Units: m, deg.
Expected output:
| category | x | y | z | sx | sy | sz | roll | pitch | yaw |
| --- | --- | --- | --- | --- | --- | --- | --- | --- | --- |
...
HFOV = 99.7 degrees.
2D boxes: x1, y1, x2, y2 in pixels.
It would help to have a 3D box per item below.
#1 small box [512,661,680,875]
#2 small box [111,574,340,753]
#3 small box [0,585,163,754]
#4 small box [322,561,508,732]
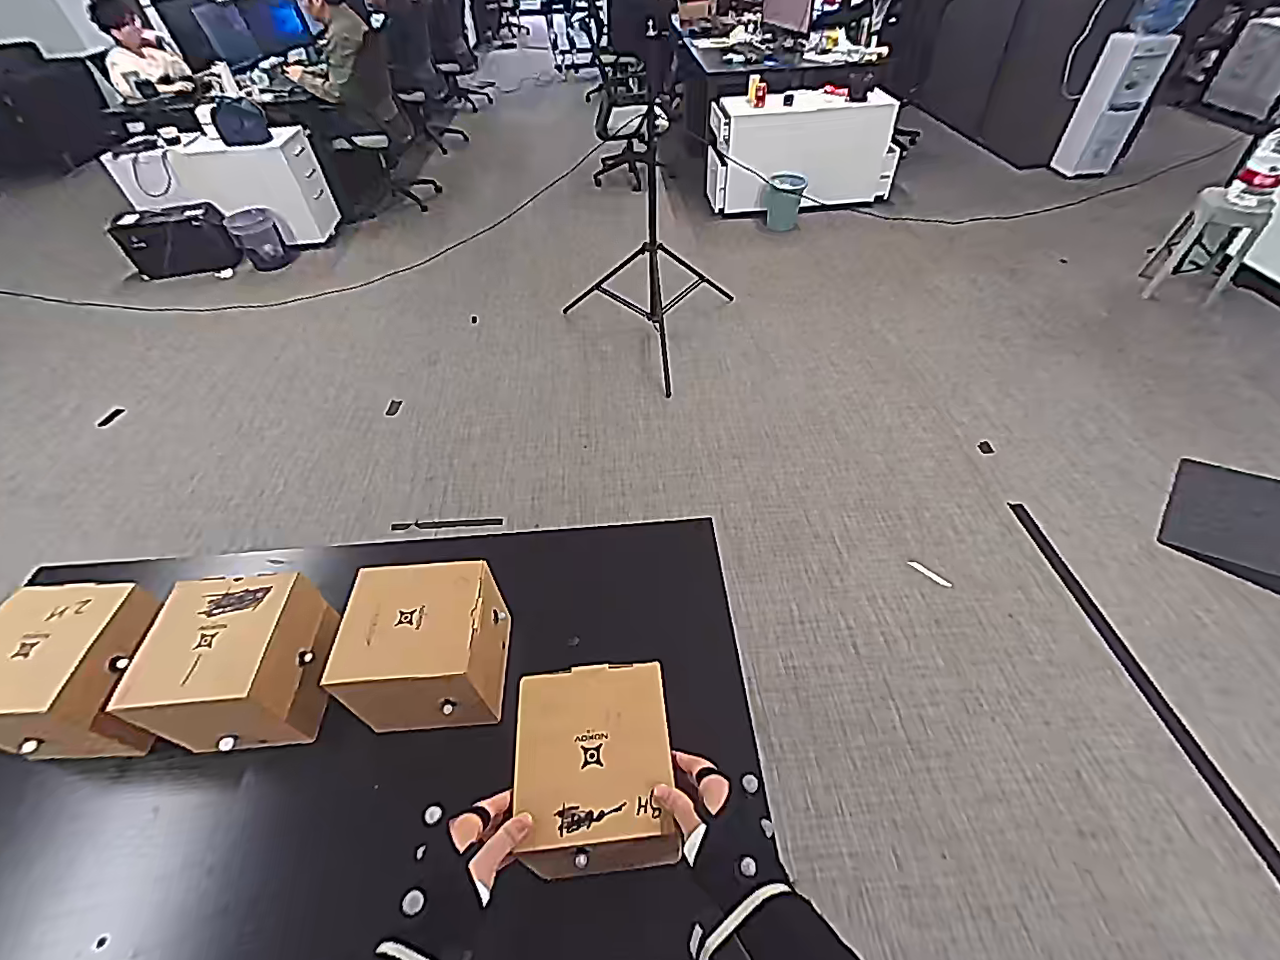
| category | x | y | z | sx | sy | sz | roll | pitch | yaw |
| --- | --- | --- | --- | --- | --- | --- | --- | --- | --- |
| small box | -0.046 | 0.338 | 0.635 | 0.168 | 0.176 | 0.179 | -6 | 47 | -1 |
| small box | -0.538 | 0.252 | 0.743 | 0.168 | 0.176 | 0.179 | -5 | 49 | -2 |
| small box | -0.762 | 0.266 | 0.744 | 0.168 | 0.176 | 0.179 | -2 | 47 | 0 |
| small box | -0.291 | 0.233 | 0.750 | 0.179 | 0.176 | 0.168 | -5 | 46 | 0 |
